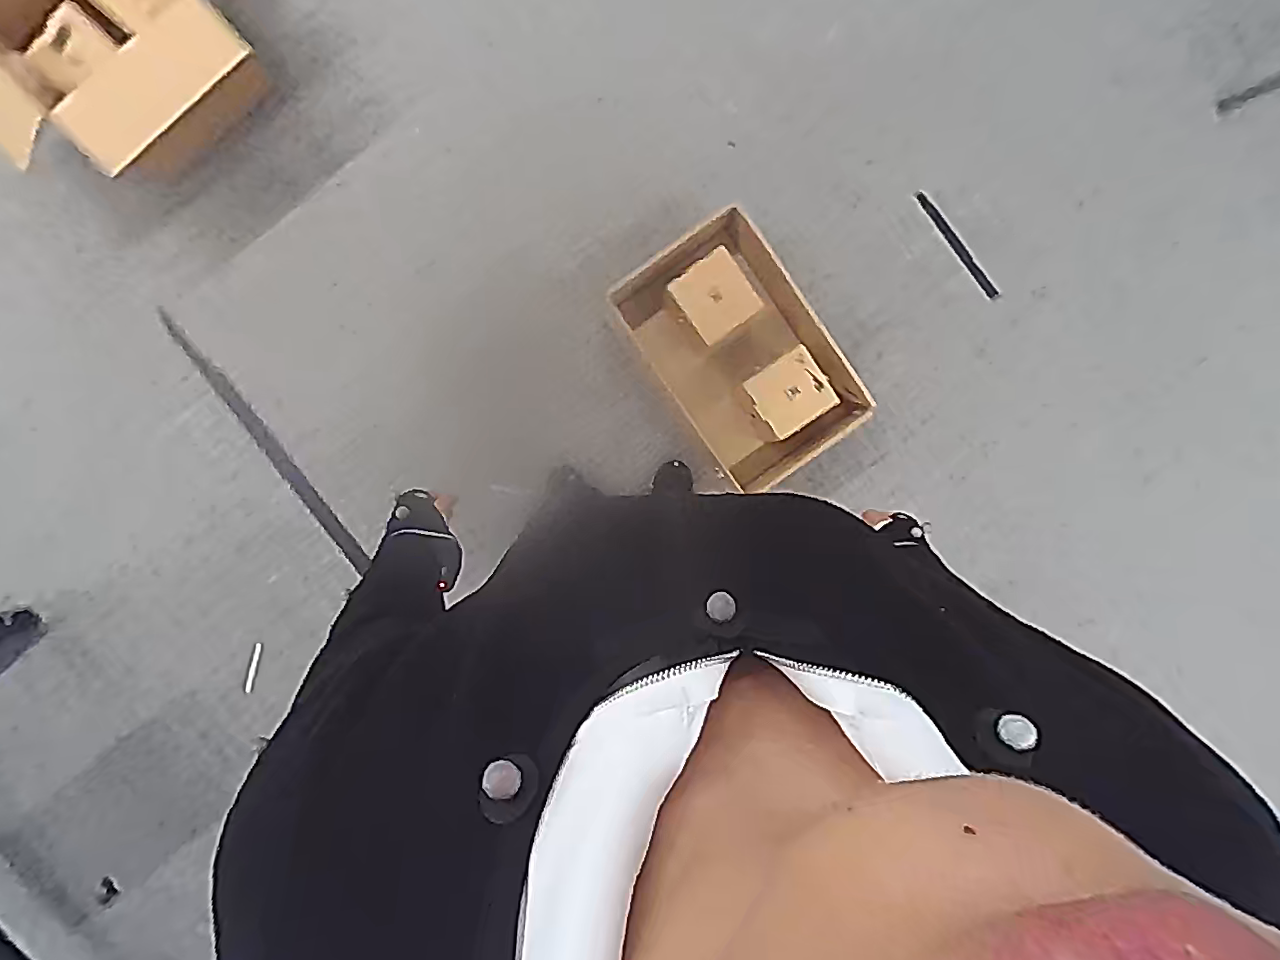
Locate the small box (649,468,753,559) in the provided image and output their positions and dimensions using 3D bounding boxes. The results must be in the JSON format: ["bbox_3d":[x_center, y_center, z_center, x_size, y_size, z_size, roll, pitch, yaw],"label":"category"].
[{"bbox_3d":[0.160,0.084,1.353,0.176,0.179,0.168,34,109,38],"label":"small box"}]

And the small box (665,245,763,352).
[{"bbox_3d":[0.175,-0.442,1.351,0.168,0.176,0.179,-35,95,2],"label":"small box"}]

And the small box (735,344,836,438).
[{"bbox_3d":[0.355,-0.216,1.368,0.179,0.176,0.168,-33,92,2],"label":"small box"}]
